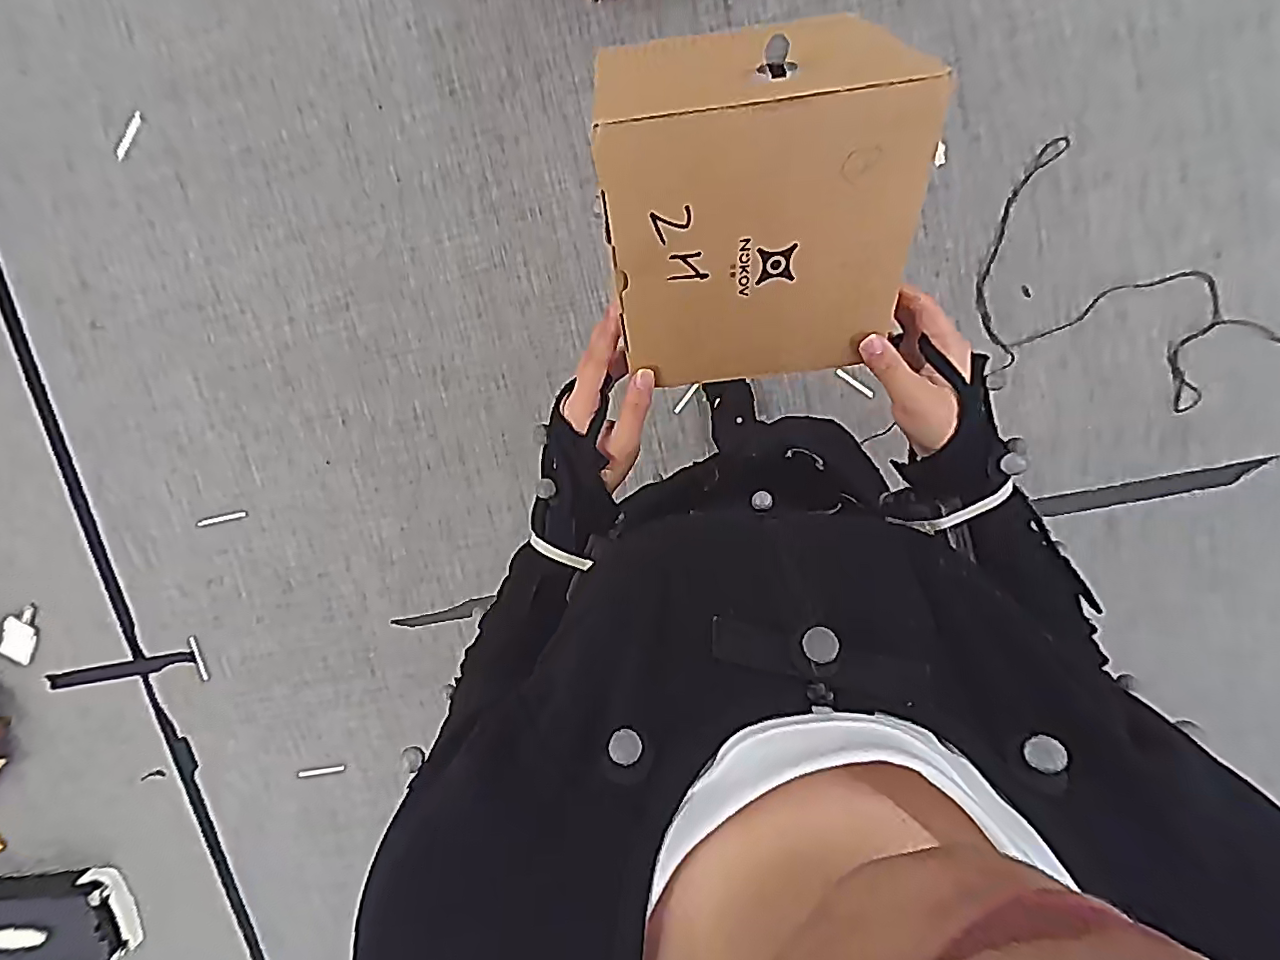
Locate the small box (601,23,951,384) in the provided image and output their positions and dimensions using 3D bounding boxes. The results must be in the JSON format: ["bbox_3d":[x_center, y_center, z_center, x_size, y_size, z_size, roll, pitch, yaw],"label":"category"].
[{"bbox_3d":[0.070,-0.191,0.376,0.179,0.176,0.168,-6,138,3],"label":"small box"}]
